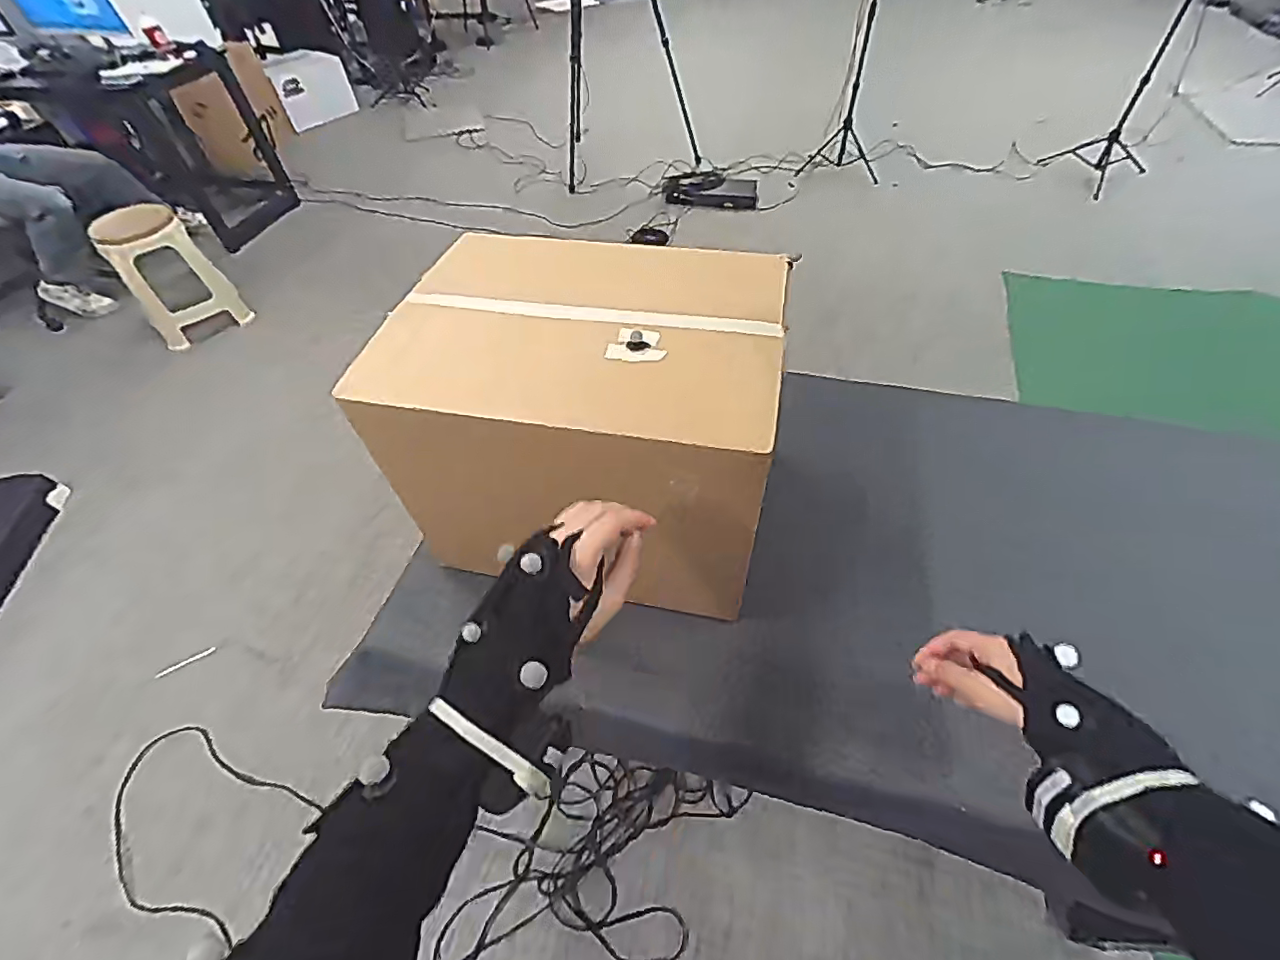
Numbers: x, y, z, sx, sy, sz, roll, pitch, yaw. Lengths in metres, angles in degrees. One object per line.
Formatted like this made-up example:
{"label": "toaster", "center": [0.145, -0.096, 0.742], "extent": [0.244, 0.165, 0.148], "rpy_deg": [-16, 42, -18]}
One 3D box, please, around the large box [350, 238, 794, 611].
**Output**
{"label": "large box", "center": [-0.044, -0.069, 0.675], "extent": [0.408, 0.320, 0.320], "rpy_deg": [9, 52, 9]}
